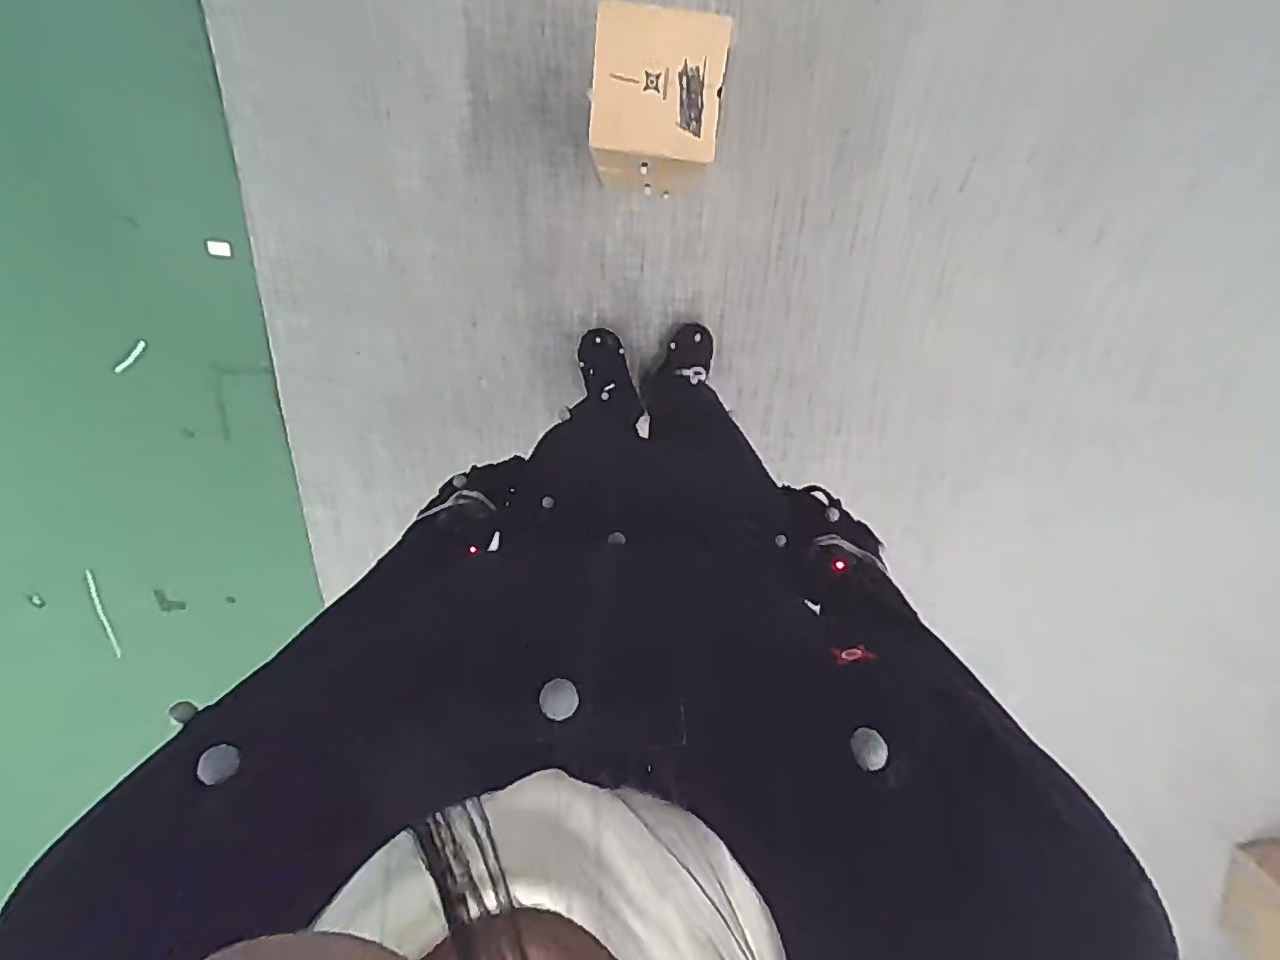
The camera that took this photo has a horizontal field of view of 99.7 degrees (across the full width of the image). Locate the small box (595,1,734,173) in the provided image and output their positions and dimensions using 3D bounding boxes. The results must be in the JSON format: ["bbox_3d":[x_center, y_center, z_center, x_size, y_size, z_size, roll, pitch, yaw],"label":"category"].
[{"bbox_3d":[0.026,-0.557,0.791,0.179,0.176,0.168,2,112,-3],"label":"small box"}]

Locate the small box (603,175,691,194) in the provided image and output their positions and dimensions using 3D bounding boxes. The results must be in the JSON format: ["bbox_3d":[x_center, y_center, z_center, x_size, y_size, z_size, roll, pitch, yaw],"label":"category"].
[{"bbox_3d":[0.019,-0.684,1.094,0.179,0.176,0.168,3,112,0],"label":"small box"}]

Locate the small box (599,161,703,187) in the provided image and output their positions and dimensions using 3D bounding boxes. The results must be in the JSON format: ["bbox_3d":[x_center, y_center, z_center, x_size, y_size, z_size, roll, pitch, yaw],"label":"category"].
[{"bbox_3d":[0.023,-0.619,0.944,0.179,0.176,0.168,5,112,-3],"label":"small box"}]
